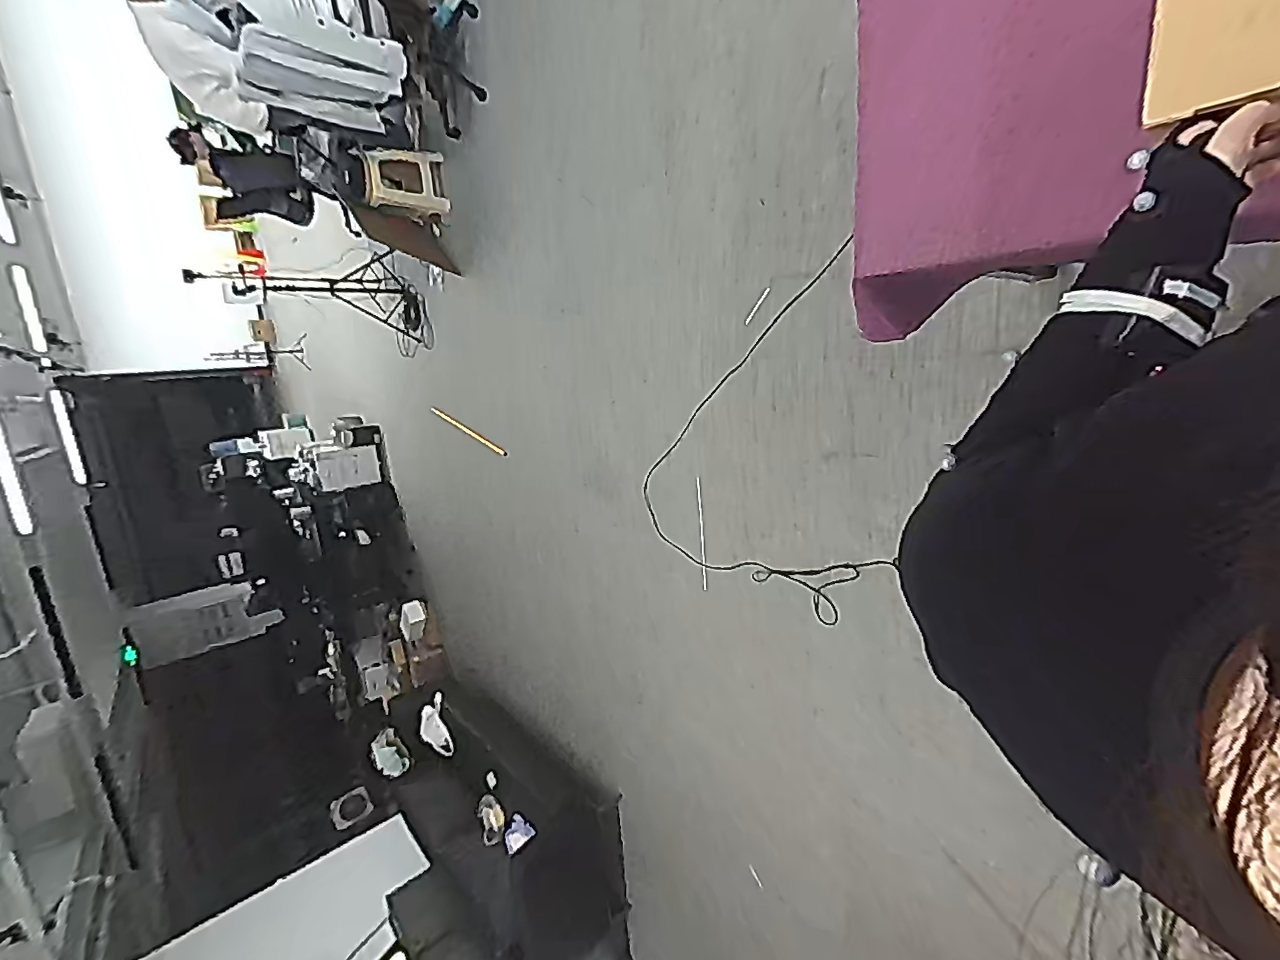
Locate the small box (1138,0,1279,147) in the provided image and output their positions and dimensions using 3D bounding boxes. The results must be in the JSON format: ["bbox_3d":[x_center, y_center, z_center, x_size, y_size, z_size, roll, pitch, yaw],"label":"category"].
[{"bbox_3d":[0.520,-0.379,0.415,0.168,0.176,0.179,12,110,48],"label":"small box"}]
